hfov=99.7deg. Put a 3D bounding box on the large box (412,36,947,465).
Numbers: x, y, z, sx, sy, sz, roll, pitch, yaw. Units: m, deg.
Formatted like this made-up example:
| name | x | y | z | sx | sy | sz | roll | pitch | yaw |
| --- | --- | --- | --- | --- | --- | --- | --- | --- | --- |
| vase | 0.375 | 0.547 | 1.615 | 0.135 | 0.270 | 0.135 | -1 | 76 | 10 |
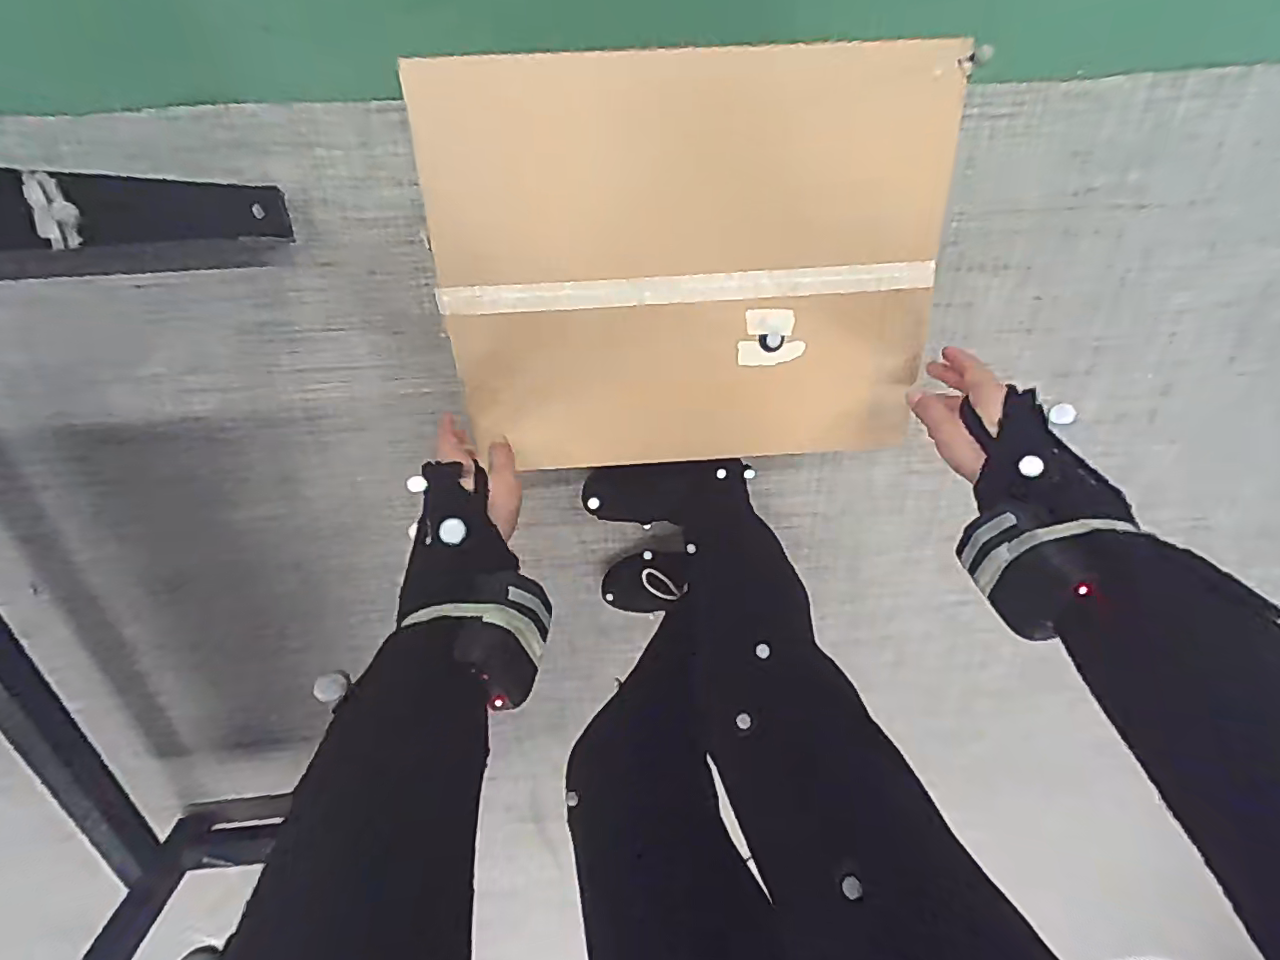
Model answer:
| name | x | y | z | sx | sy | sz | roll | pitch | yaw |
| --- | --- | --- | --- | --- | --- | --- | --- | --- | --- |
| large box | 0.030 | -0.231 | 0.589 | 0.408 | 0.320 | 0.320 | -5 | 116 | -2 |
